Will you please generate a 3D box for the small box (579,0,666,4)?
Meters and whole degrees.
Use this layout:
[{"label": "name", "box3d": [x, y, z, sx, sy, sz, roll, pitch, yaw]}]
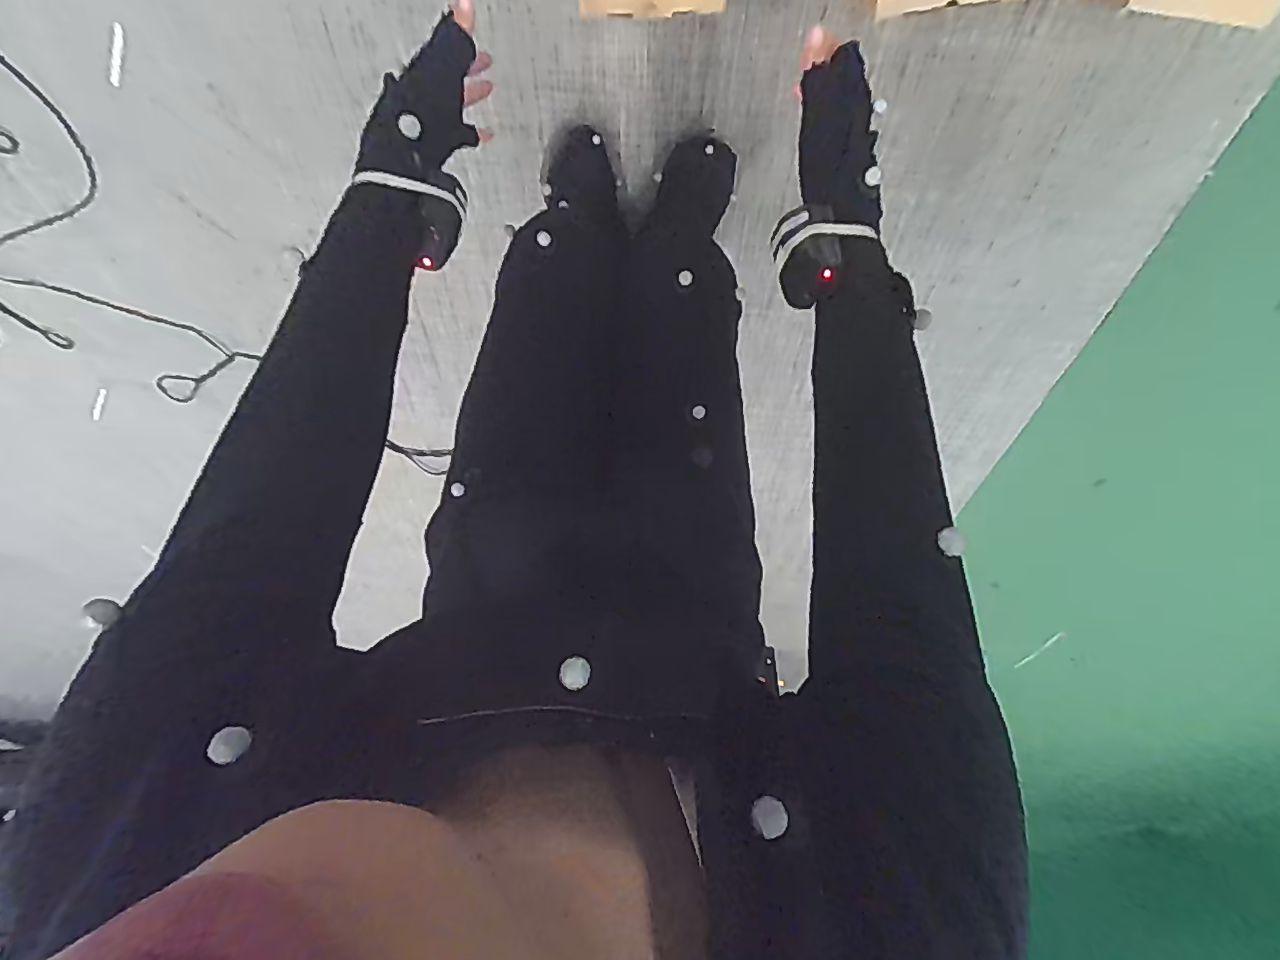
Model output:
[{"label": "small box", "box3d": [0.010, -0.649, 0.588, 0.168, 0.176, 0.179, 0, 139, 4]}]
